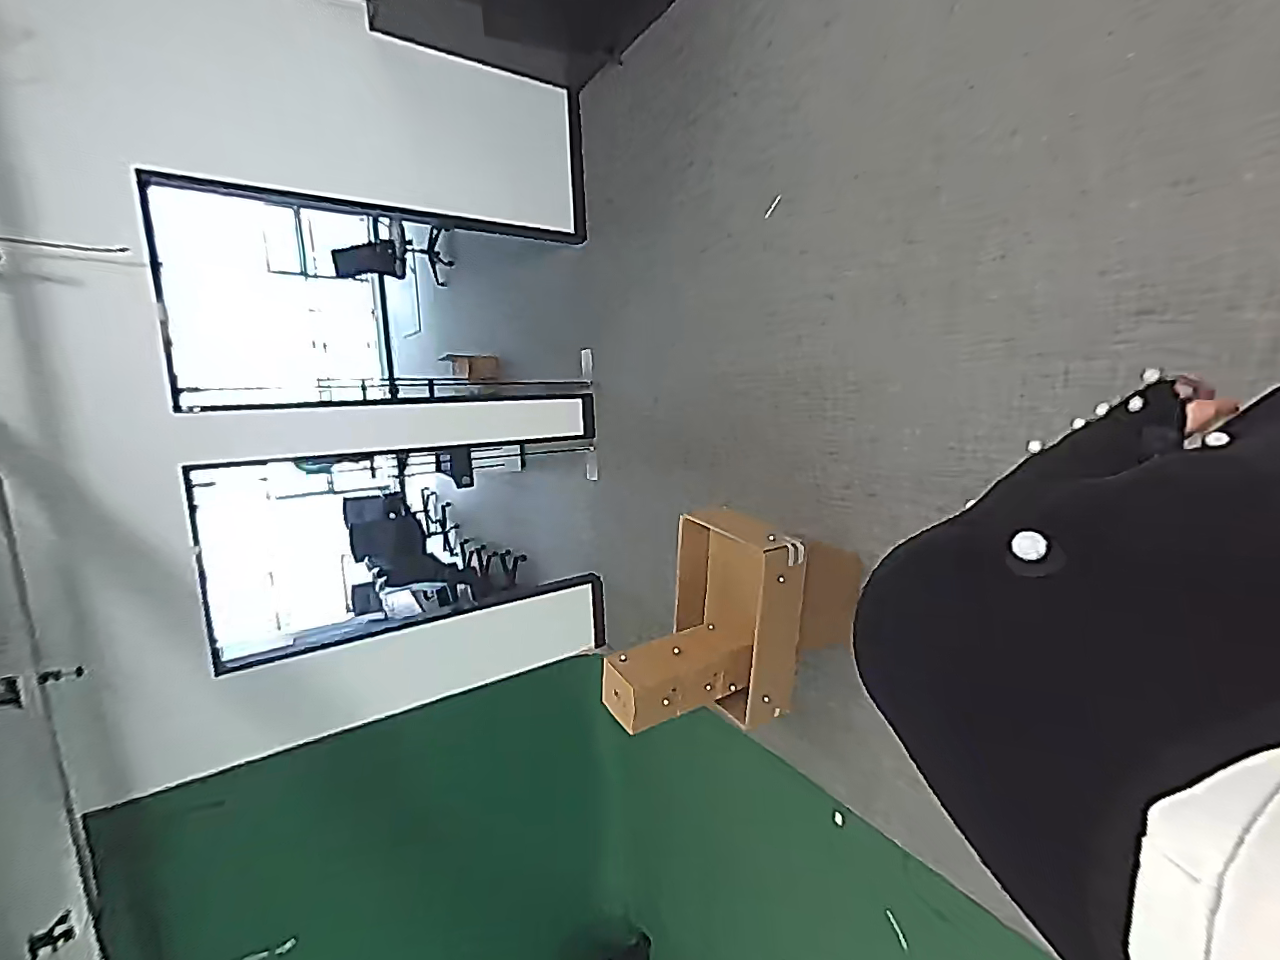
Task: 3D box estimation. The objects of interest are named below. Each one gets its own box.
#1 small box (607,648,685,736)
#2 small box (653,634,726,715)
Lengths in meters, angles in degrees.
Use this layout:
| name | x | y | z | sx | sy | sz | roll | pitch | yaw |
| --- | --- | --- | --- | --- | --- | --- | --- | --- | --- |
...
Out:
| name | x | y | z | sx | sy | sz | roll | pitch | yaw |
| --- | --- | --- | --- | --- | --- | --- | --- | --- | --- |
| small box | 0.016 | 0.640 | 1.664 | 0.179 | 0.176 | 0.168 | 26 | 119 | 51 |
| small box | 0.154 | 0.618 | 1.752 | 0.179 | 0.176 | 0.168 | 24 | 117 | 51 |
